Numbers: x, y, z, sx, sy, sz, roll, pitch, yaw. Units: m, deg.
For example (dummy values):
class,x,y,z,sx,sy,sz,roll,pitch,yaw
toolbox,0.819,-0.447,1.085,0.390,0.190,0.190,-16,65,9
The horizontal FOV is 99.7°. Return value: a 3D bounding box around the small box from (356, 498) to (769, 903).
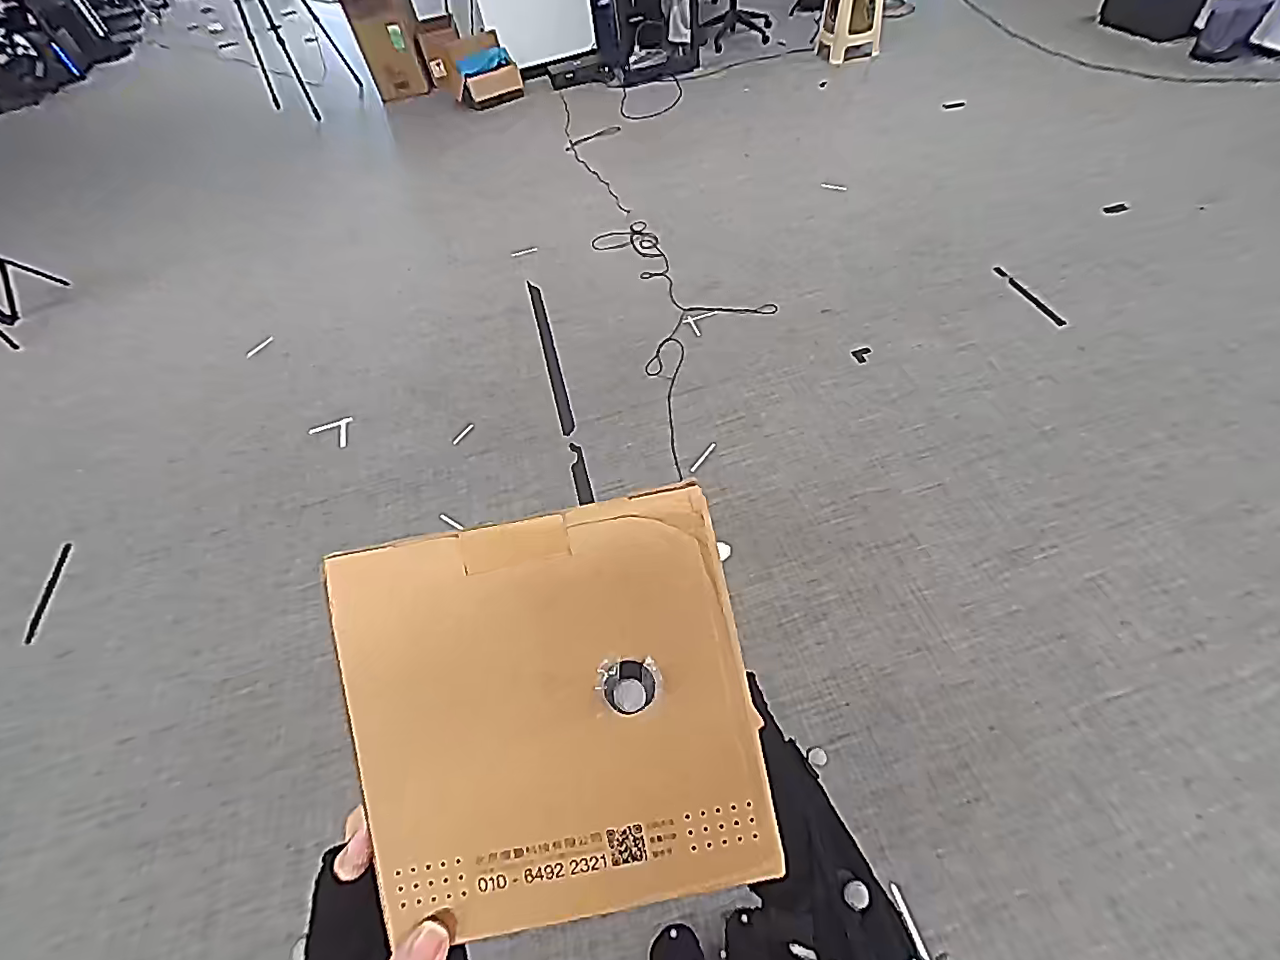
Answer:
class,x,y,z,sx,sy,sz,roll,pitch,yaw
small box,-0.032,0.111,0.324,0.168,0.179,0.176,-11,88,1
